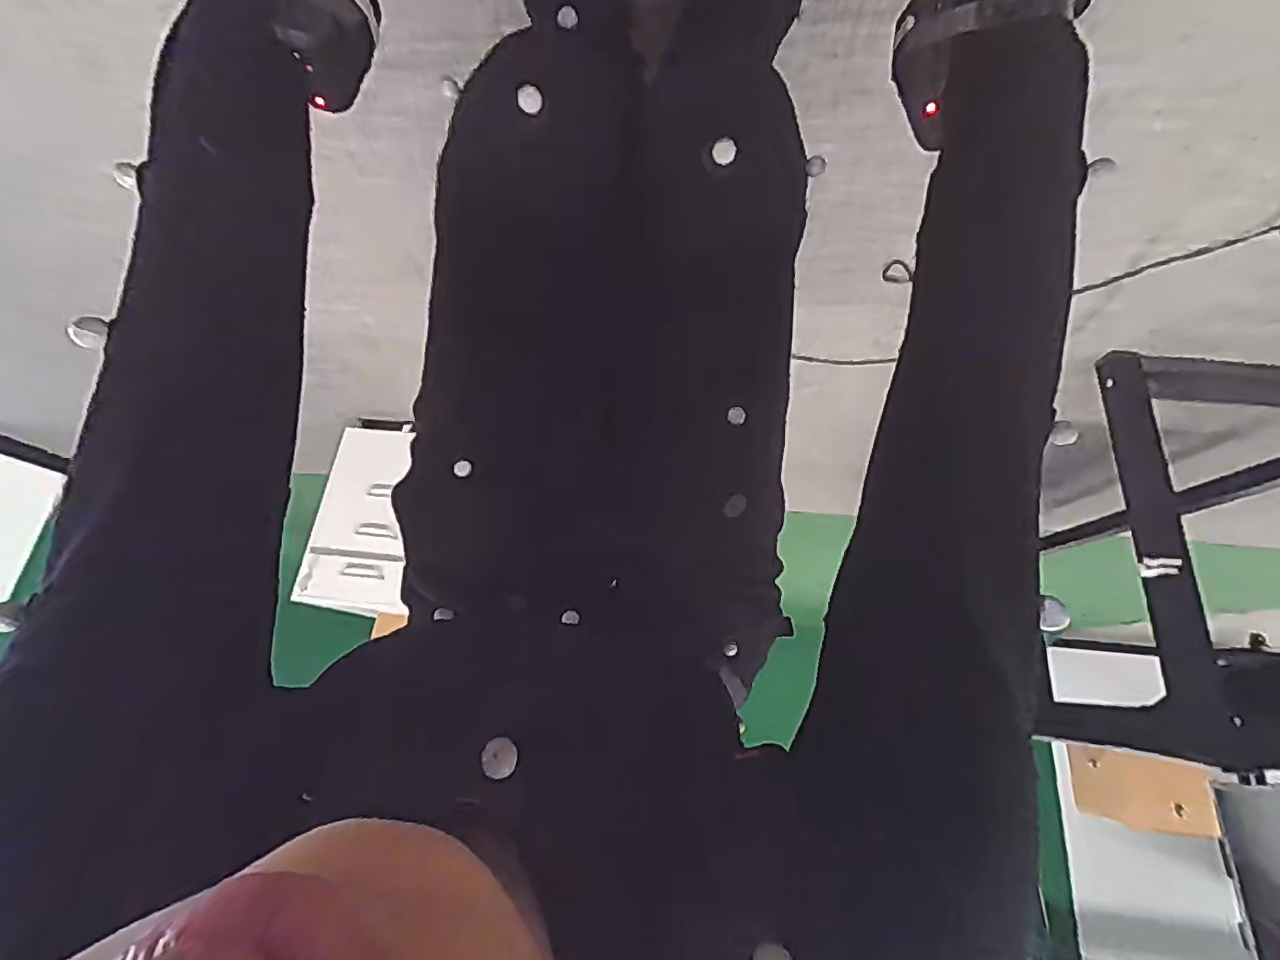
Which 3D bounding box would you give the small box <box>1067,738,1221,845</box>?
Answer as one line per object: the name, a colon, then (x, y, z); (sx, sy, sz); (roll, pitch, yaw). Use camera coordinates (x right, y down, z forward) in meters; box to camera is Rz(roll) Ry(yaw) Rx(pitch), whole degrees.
small box: (1.106, 0.683, 1.203); (0.179, 0.176, 0.168); (5, 160, 3)
